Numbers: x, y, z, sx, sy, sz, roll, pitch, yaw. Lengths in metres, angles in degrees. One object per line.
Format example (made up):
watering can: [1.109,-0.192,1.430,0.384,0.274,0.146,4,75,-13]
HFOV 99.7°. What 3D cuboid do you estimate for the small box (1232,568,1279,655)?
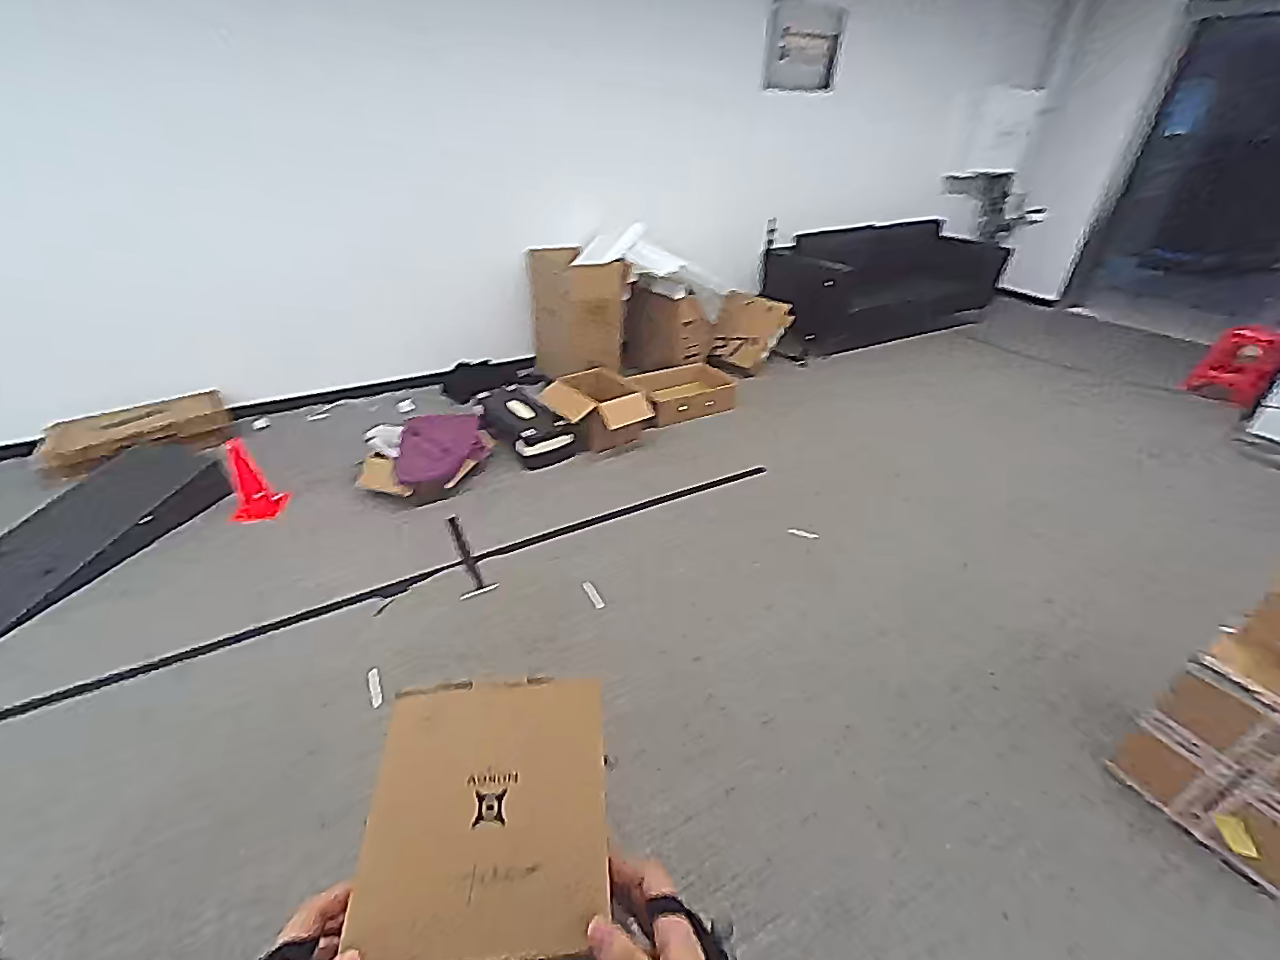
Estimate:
small box: [1.621,0.327,1.322,0.179,0.176,0.168,-21,37,-27]

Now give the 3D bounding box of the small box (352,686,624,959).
small box: [-0.102,0.290,0.441,0.168,0.176,0.179,-1,45,-5]
